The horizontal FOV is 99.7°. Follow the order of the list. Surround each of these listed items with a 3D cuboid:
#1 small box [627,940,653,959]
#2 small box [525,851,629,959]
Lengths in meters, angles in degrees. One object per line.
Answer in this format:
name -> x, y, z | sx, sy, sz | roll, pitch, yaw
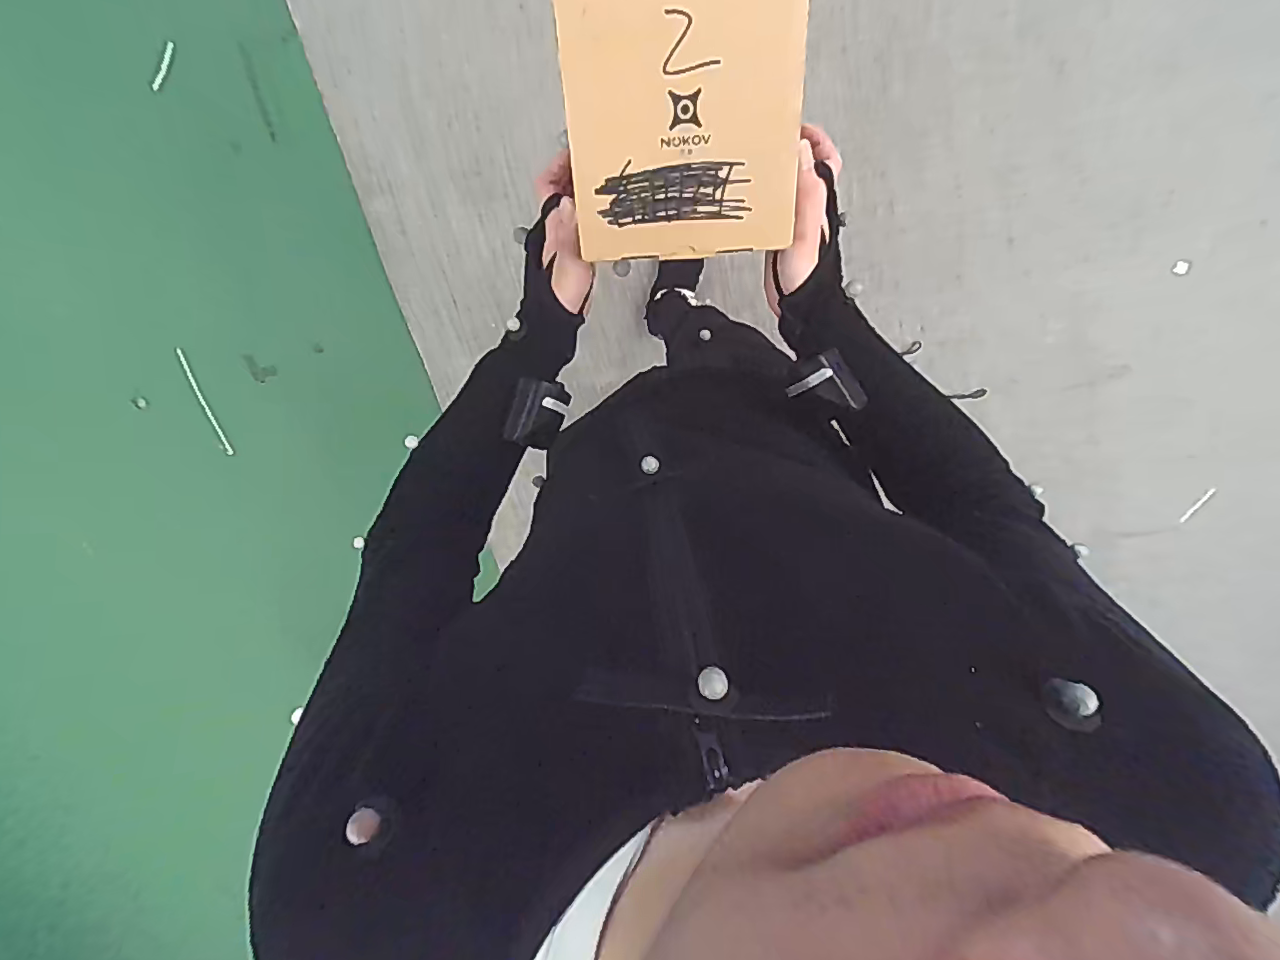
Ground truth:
small box -> -0.046, 1.208, 1.240 | 0.168, 0.176, 0.179 | -13, 110, 4
small box -> -0.122, 0.928, 1.133 | 0.168, 0.176, 0.179 | -15, 109, 4
